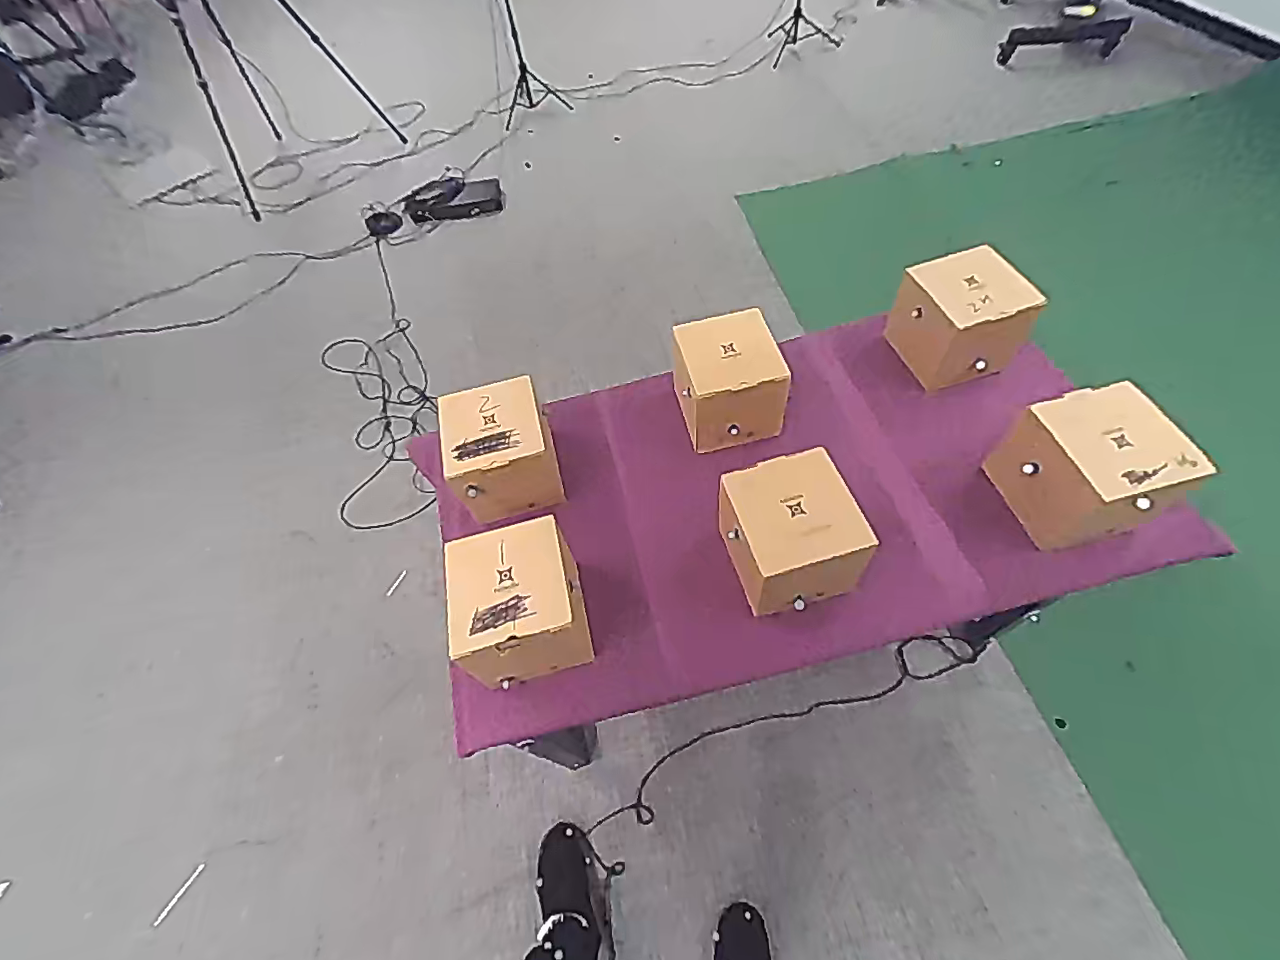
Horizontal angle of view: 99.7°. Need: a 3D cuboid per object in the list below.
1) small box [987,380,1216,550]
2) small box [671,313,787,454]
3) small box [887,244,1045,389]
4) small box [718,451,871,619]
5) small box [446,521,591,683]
[{"bbox_3d":[0.680,-0.018,0.829,0.168,0.176,0.179,-15,57,0],"label":"small box"},{"bbox_3d":[0.159,-0.177,1.012,0.168,0.176,0.179,-14,59,-1],"label":"small box"},{"bbox_3d":[0.596,-0.305,1.022,0.168,0.176,0.179,-18,58,0],"label":"small box"},{"bbox_3d":[0.223,0.088,0.833,0.168,0.176,0.179,-16,56,-1],"label":"small box"},{"bbox_3d":[-0.180,0.194,0.822,0.168,0.176,0.179,-15,55,-2],"label":"small box"}]
